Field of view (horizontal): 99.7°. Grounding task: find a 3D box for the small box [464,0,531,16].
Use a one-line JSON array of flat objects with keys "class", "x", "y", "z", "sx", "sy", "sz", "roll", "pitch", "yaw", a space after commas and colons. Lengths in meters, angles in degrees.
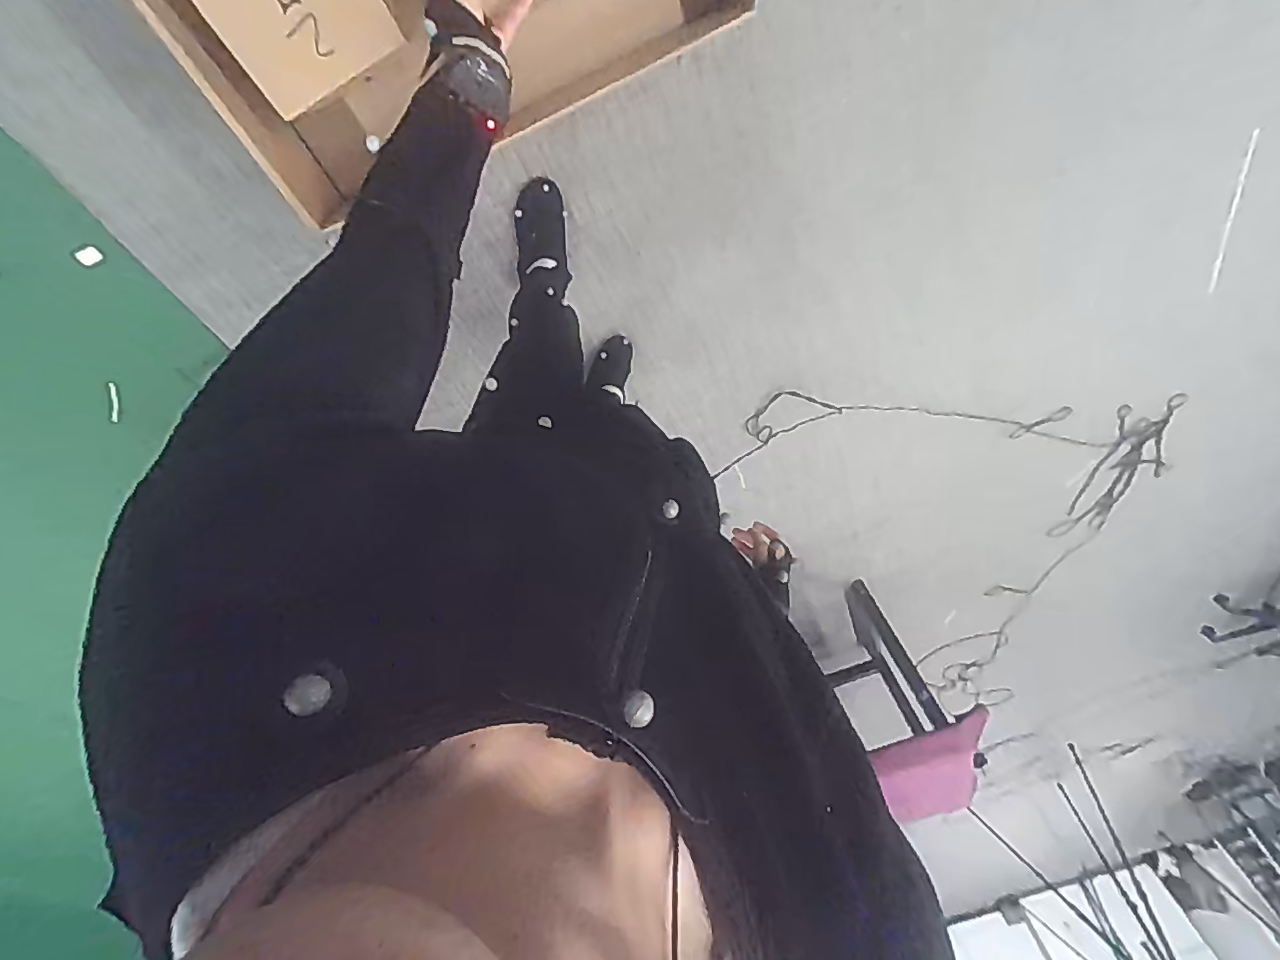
[{"class": "small box", "x": -0.124, "y": -0.575, "z": 0.500, "sx": 0.168, "sy": 0.176, "sz": 0.179, "roll": -22, "pitch": 124, "yaw": 15}]
